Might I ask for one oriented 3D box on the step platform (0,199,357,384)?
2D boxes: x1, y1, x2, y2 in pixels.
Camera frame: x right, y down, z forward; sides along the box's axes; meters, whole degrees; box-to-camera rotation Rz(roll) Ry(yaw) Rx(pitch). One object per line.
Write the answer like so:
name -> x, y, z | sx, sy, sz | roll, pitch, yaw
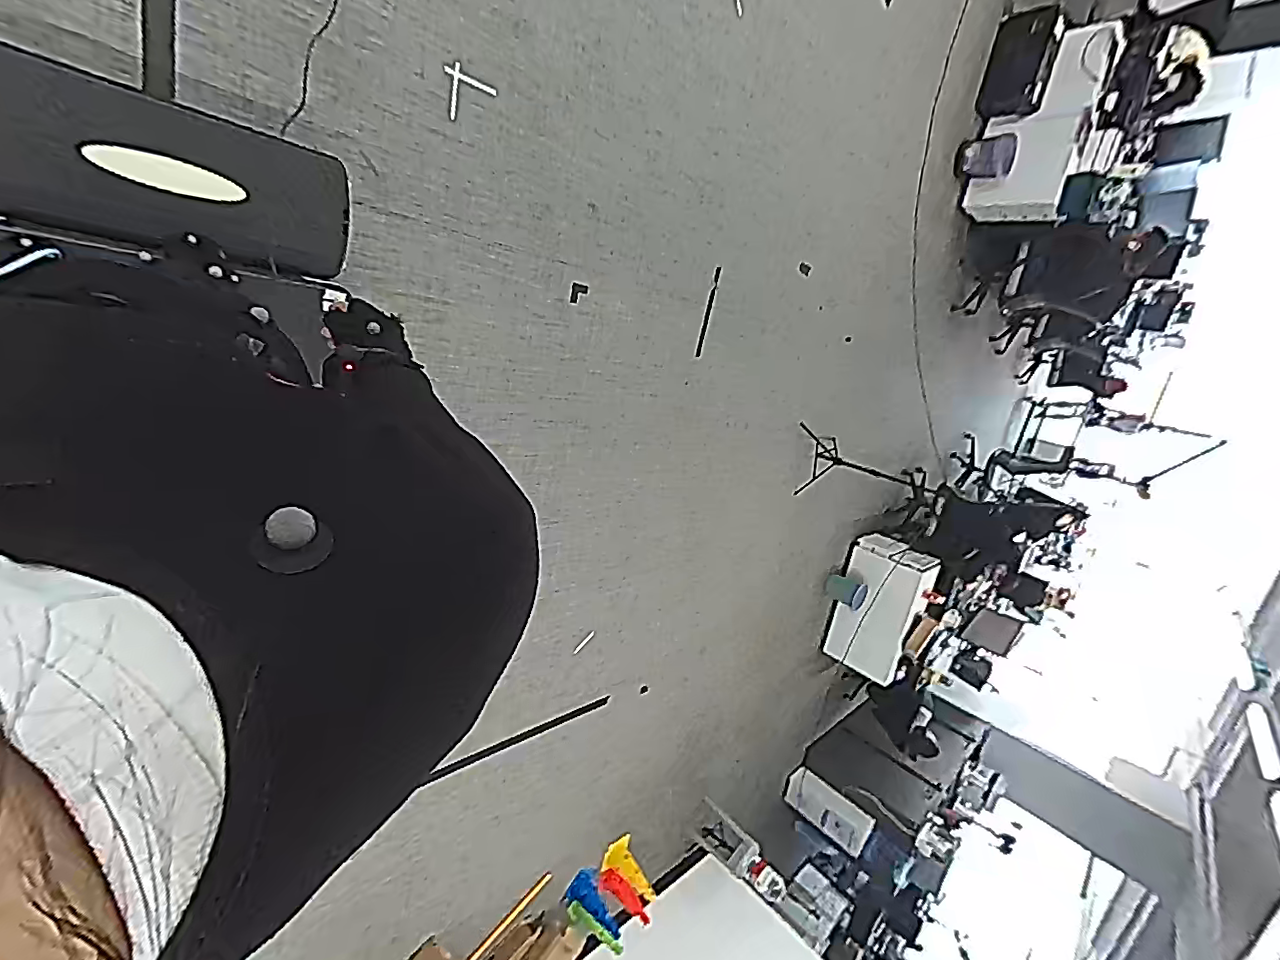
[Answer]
step platform -> -0.987, -0.373, 1.152 | 0.684, 0.204, 0.286 | -4, 110, -44
